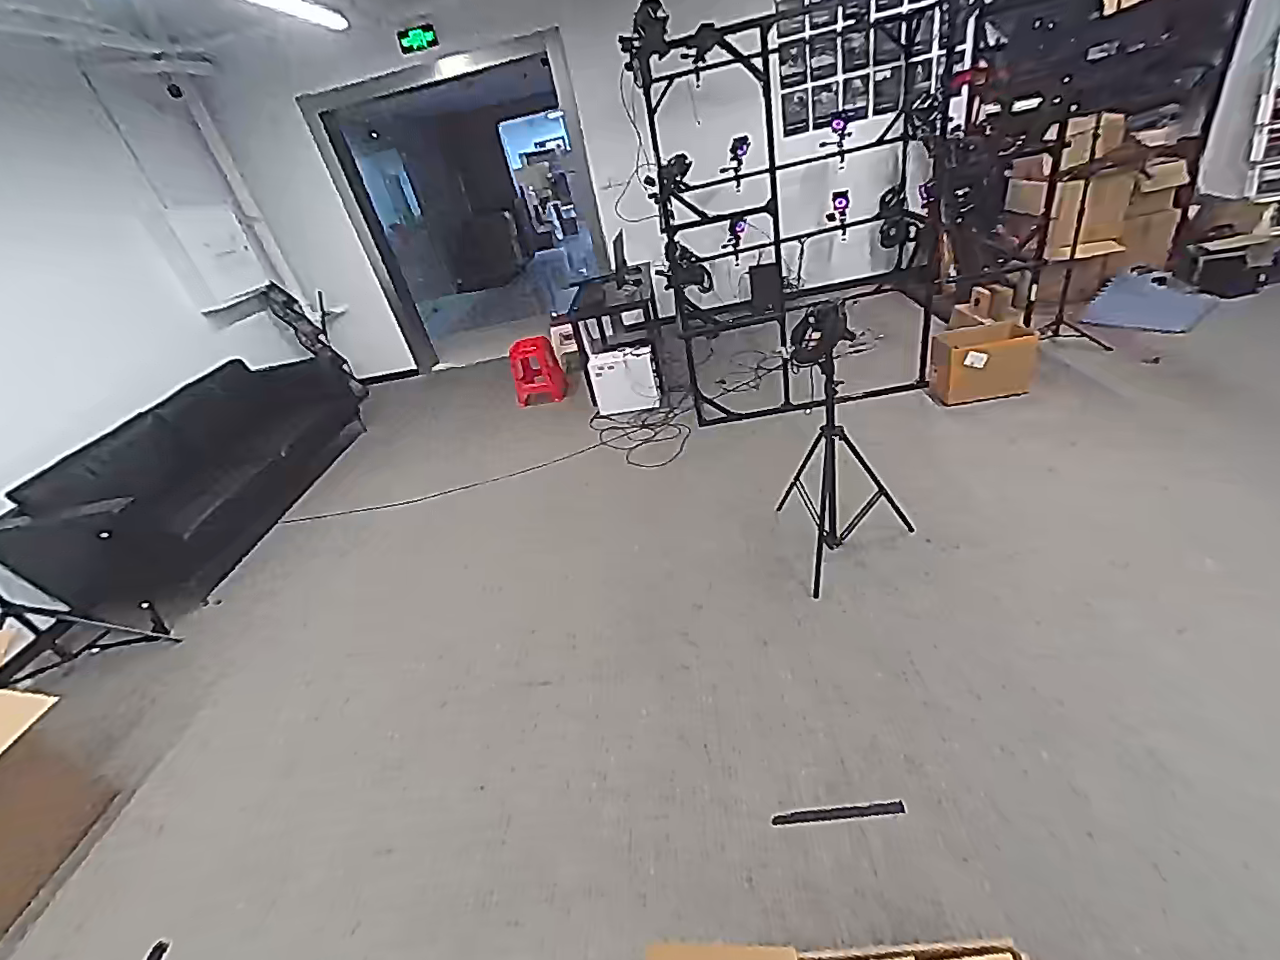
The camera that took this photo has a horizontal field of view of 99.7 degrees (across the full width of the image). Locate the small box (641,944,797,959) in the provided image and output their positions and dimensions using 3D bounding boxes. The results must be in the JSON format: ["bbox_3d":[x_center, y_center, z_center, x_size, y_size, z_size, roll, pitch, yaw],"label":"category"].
[{"bbox_3d":[0.086,0.614,0.571,0.168,0.176,0.179,-1,44,2],"label":"small box"}]
